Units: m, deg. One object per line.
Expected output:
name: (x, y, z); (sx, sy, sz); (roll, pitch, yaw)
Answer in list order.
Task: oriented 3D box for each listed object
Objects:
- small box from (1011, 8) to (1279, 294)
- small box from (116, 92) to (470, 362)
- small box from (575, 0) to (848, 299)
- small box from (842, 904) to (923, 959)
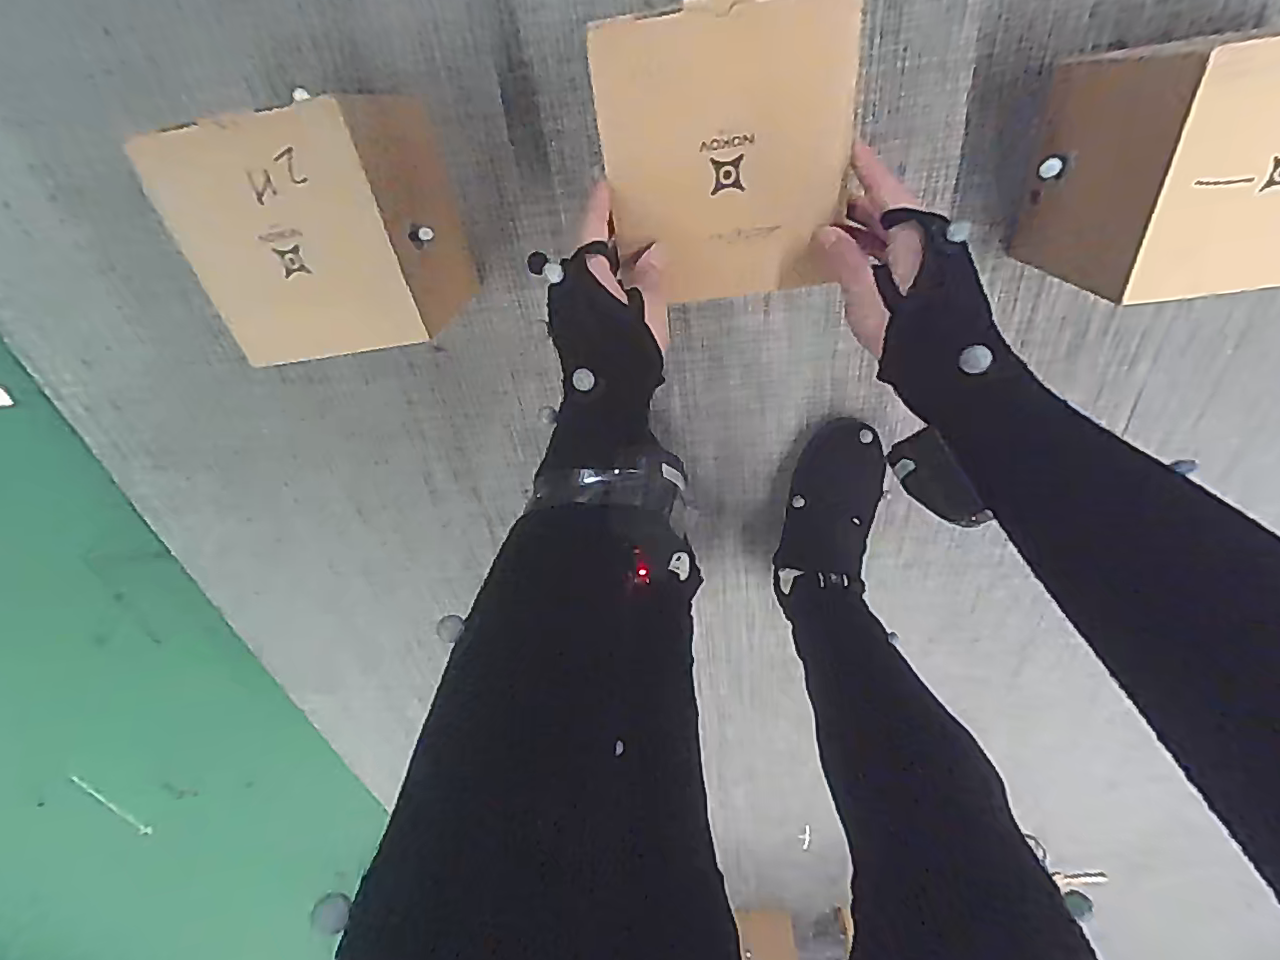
small box: (0.445, -0.264, 0.429); (0.179, 0.176, 0.168); (-6, 124, 6)
small box: (-0.271, -0.227, 0.481); (0.168, 0.176, 0.179); (-7, 124, 6)
small box: (0.052, -0.264, 0.428); (0.168, 0.176, 0.179); (-5, 126, 6)
small box: (0.692, 1.333, 1.536); (0.179, 0.176, 0.168); (-6, 124, 7)
